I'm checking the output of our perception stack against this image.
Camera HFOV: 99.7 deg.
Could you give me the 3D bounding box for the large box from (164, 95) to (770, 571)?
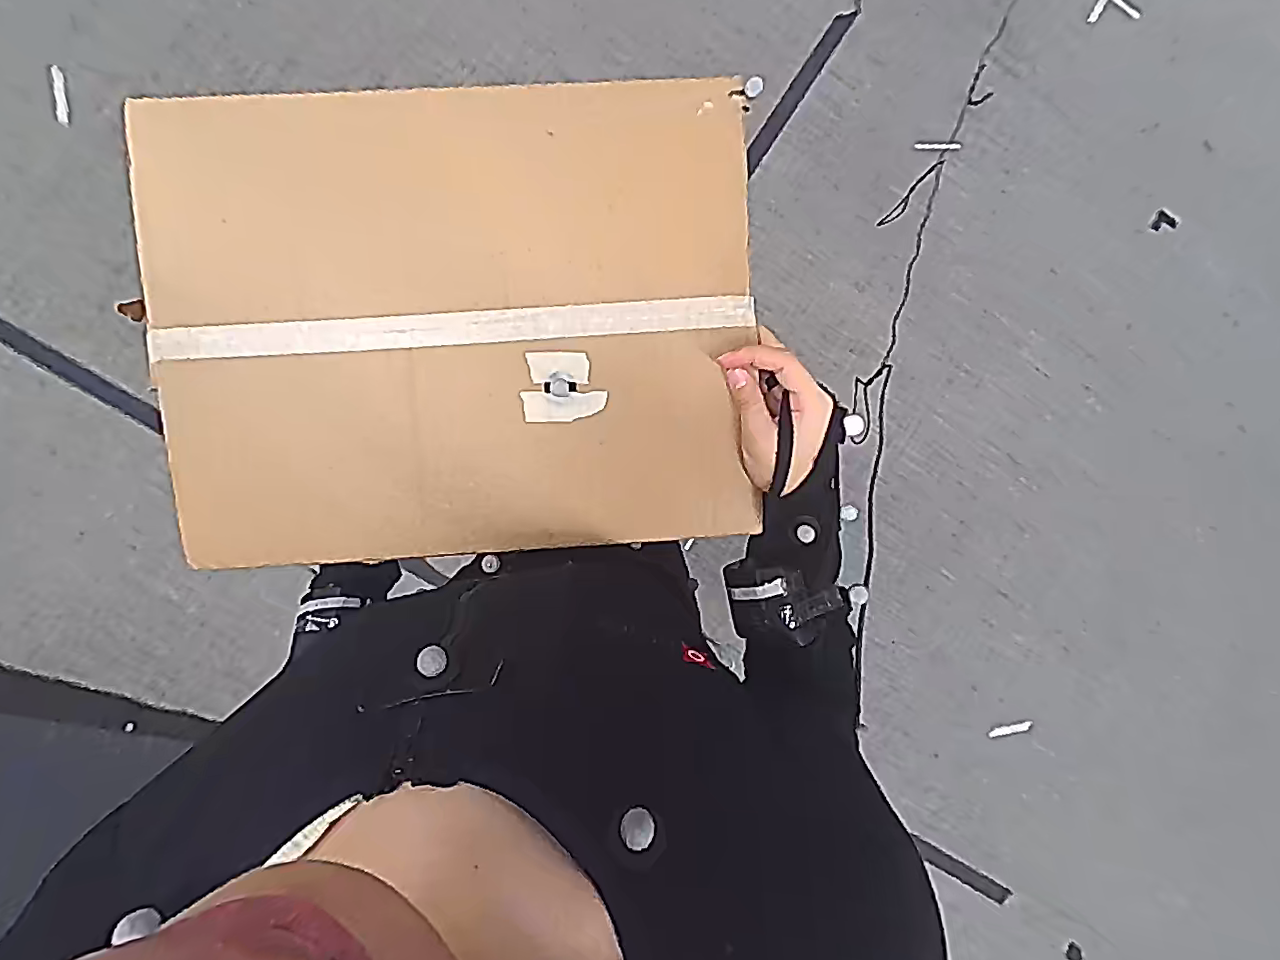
[{"bbox_3d":[-0.121,-0.114,0.529,0.408,0.320,0.320,-4,96,-3],"label":"large box"}]
